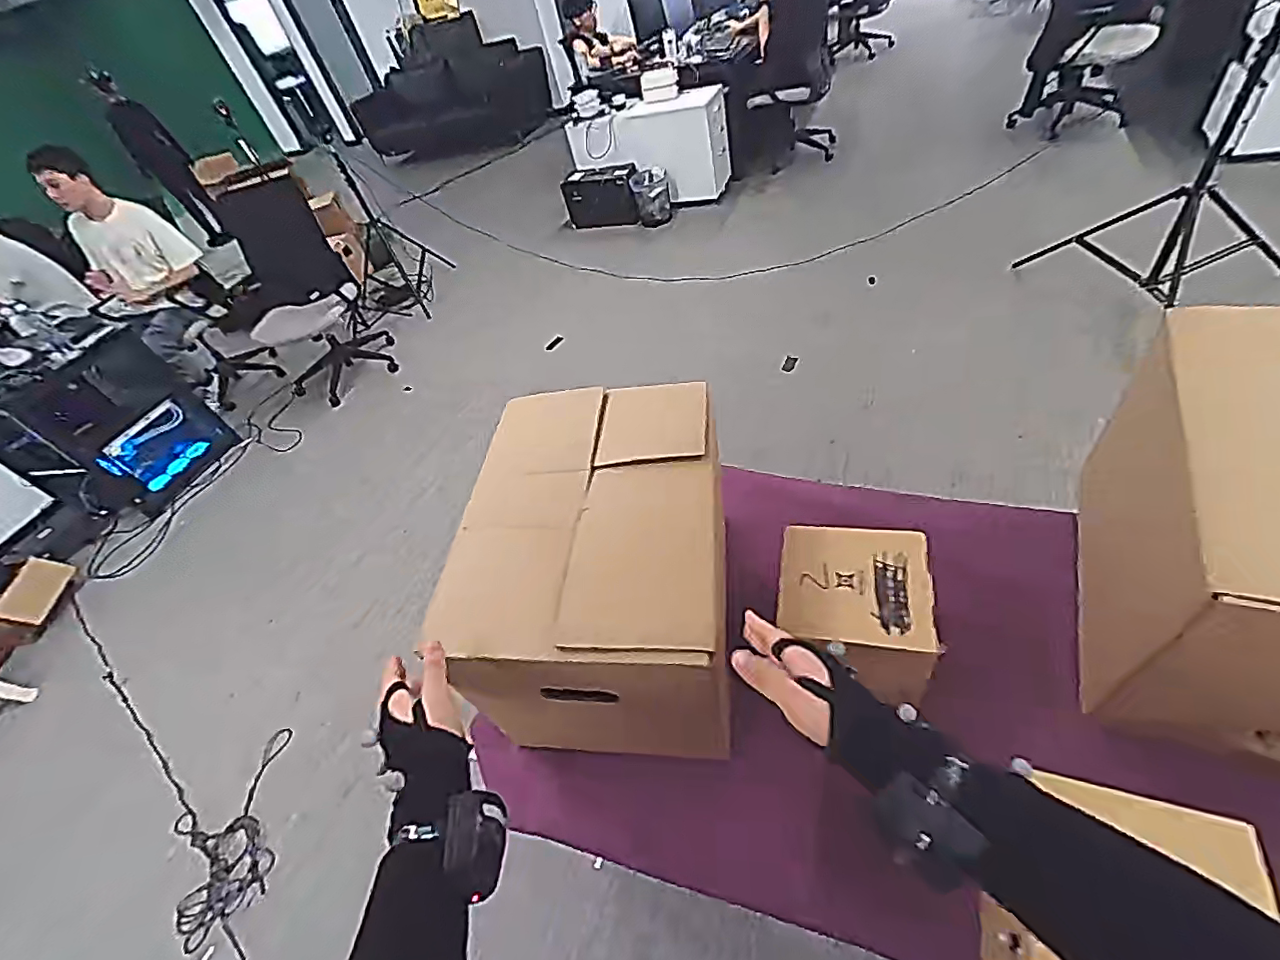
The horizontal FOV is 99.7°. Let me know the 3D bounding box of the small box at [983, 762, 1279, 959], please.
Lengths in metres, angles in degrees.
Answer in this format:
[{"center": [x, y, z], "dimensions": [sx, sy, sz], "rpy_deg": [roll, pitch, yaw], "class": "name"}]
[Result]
[{"center": [0.416, 0.386, 0.476], "dimensions": [0.168, 0.176, 0.179], "rpy_deg": [6, 51, 23], "class": "small box"}]
